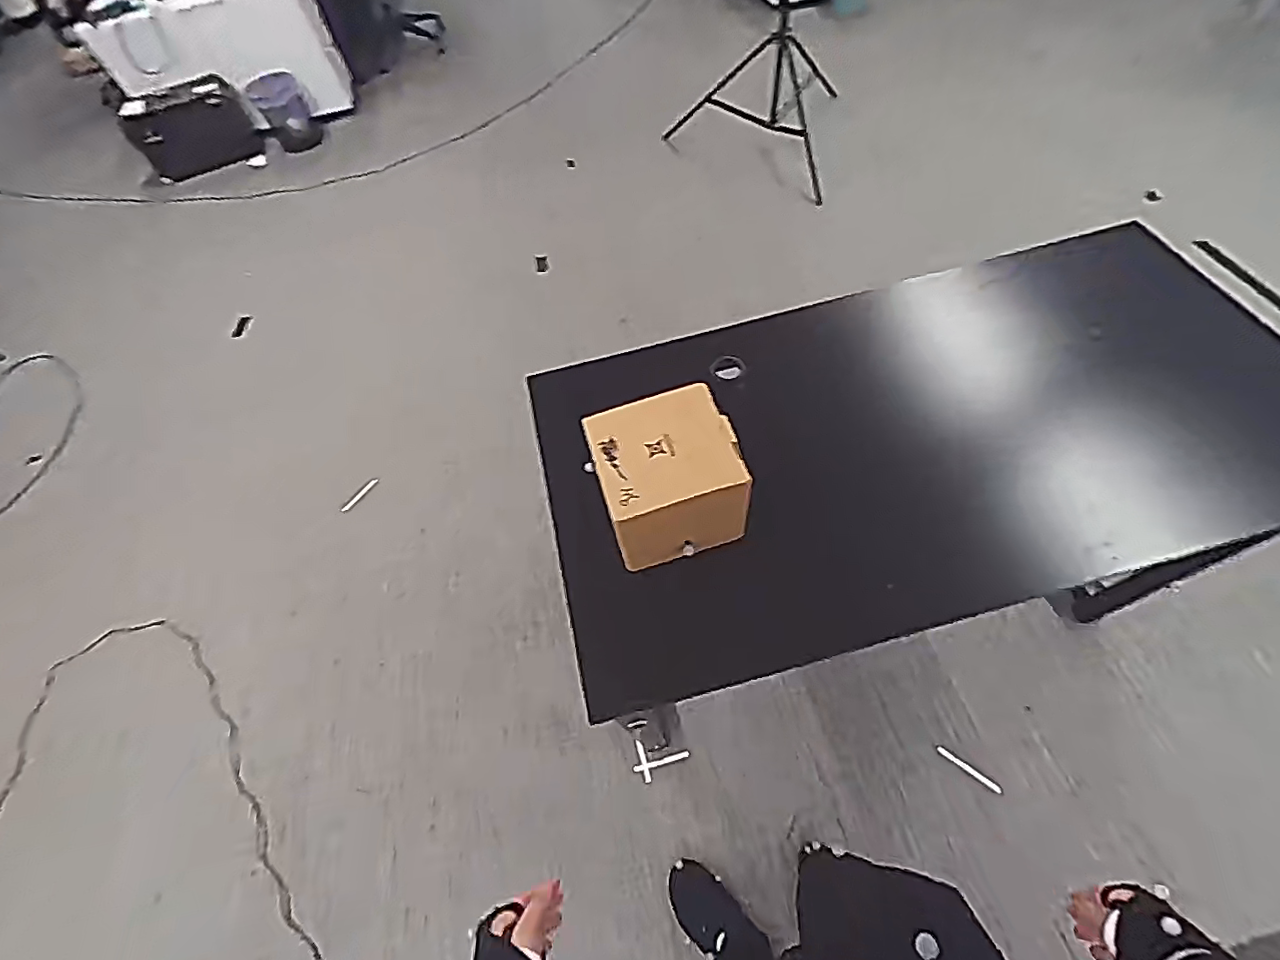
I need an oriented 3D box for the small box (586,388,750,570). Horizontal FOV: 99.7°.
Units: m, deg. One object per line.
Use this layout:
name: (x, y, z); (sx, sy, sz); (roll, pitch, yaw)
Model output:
small box: (0.035, 0.004, 0.757); (0.179, 0.176, 0.168); (-16, 59, -5)
